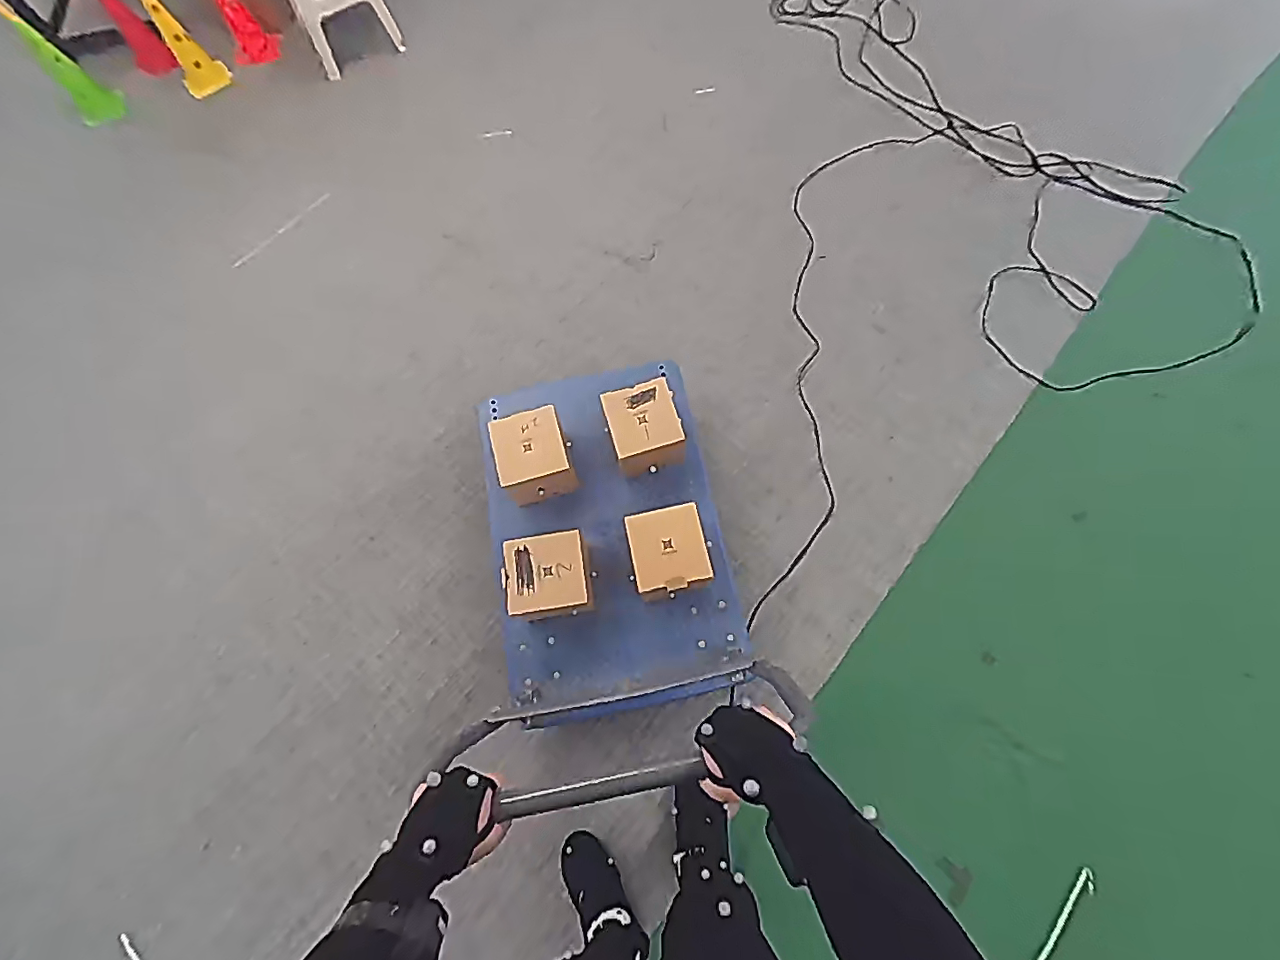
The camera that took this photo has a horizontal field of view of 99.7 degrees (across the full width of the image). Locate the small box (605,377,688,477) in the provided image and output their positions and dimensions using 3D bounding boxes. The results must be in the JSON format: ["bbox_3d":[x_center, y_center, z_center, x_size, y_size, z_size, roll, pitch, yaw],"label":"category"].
[{"bbox_3d":[0.016,-0.128,1.357,0.168,0.176,0.179,-16,73,-2],"label":"small box"}]

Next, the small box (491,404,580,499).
[{"bbox_3d":[-0.255,-0.062,1.350,0.168,0.176,0.179,-15,72,-3],"label":"small box"}]

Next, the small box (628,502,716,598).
[{"bbox_3d":[0.070,0.168,1.261,0.168,0.176,0.179,-12,73,-1],"label":"small box"}]
